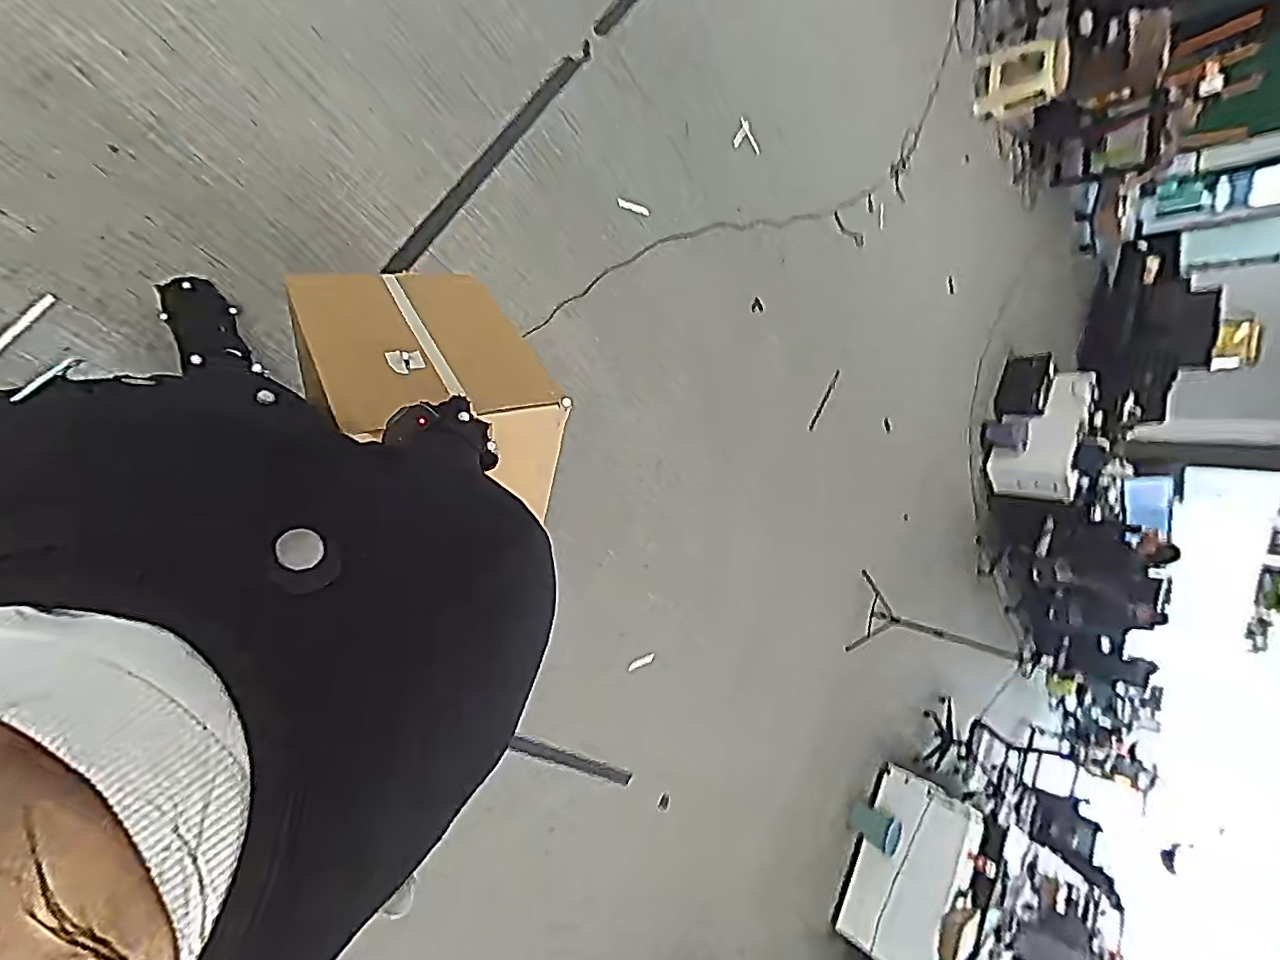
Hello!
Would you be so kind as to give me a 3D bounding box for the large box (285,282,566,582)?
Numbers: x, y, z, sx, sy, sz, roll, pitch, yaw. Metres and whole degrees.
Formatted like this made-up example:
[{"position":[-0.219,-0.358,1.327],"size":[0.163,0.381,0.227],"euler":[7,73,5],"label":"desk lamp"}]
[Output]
[{"position":[-0.381,-0.101,0.942],"size":[0.320,0.408,0.320],"euler":[-15,143,-33],"label":"large box"}]
